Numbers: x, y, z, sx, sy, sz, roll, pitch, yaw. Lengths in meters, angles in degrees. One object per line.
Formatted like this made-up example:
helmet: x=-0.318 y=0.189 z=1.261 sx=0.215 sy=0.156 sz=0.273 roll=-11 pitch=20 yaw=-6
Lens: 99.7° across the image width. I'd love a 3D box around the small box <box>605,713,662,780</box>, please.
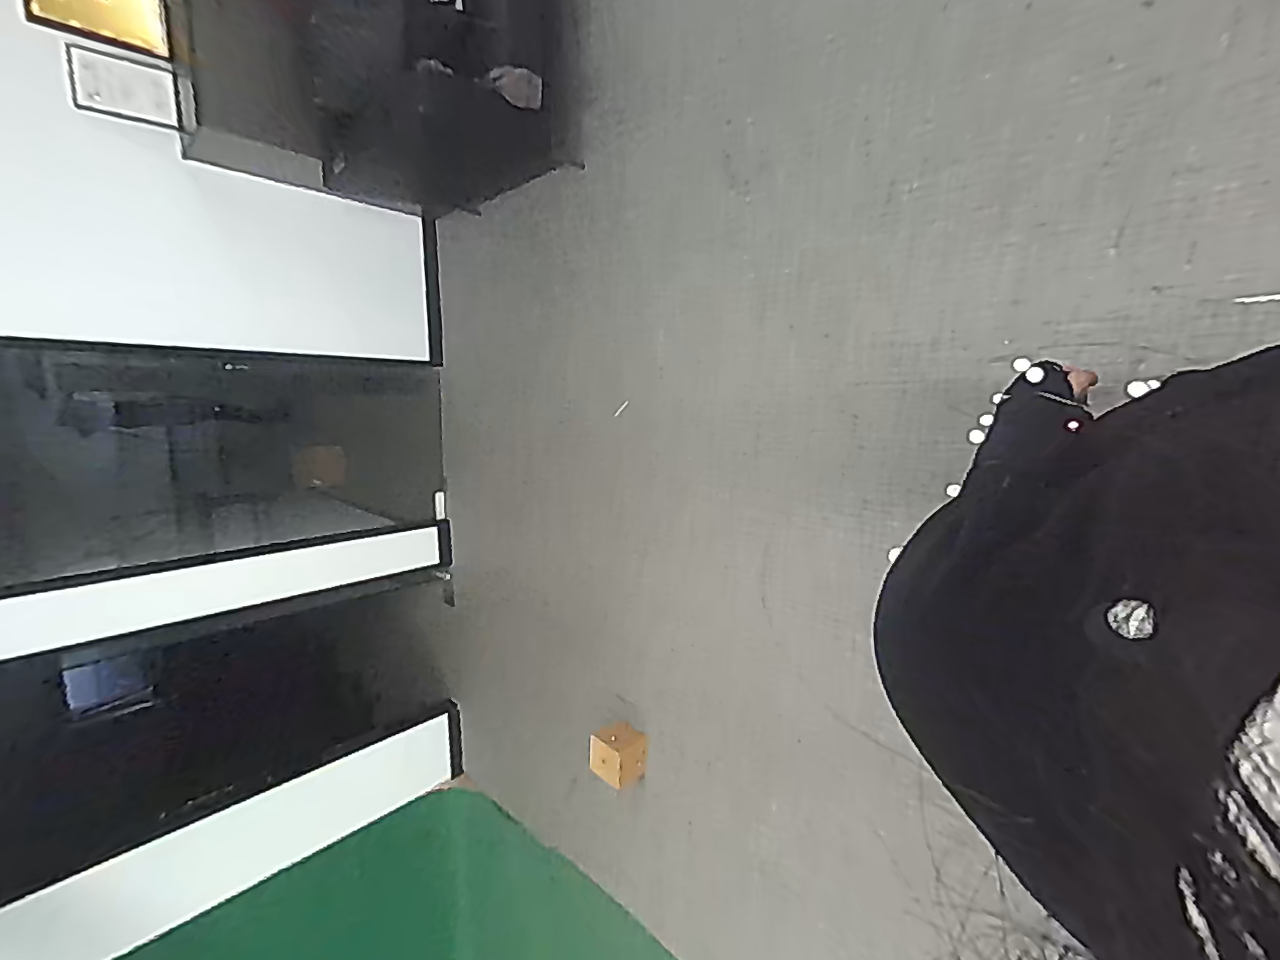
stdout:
small box: x=-0.030 y=1.118 z=2.293 sx=0.179 sy=0.176 sz=0.168 roll=12 pitch=105 yaw=42
